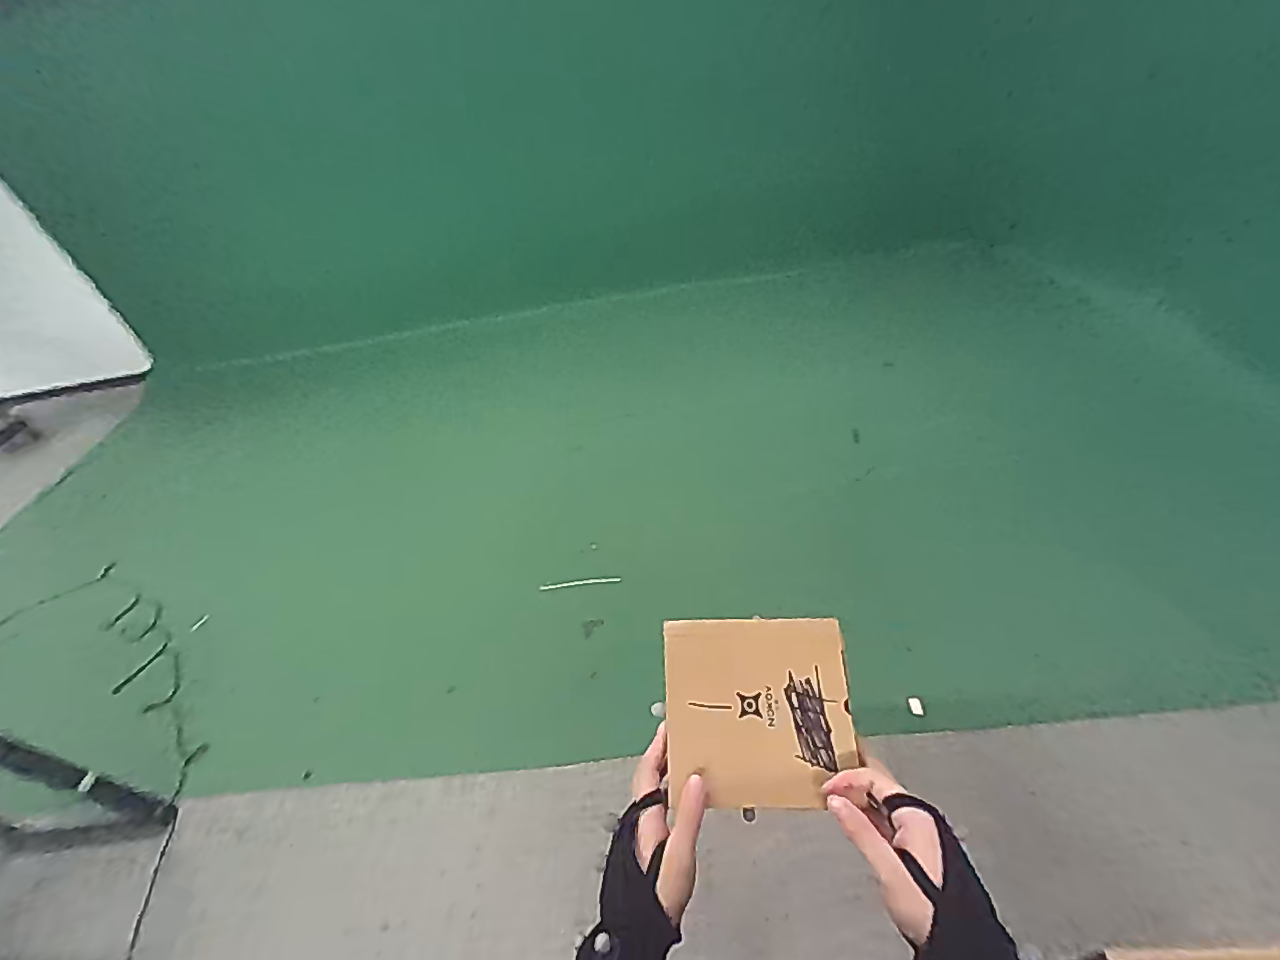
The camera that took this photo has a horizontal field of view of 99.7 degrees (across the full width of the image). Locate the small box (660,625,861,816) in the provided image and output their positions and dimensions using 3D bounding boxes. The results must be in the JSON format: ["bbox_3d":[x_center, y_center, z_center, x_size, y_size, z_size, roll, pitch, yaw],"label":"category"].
[{"bbox_3d":[0.111,0.255,0.579,0.179,0.176,0.168,-2,62,4],"label":"small box"}]
